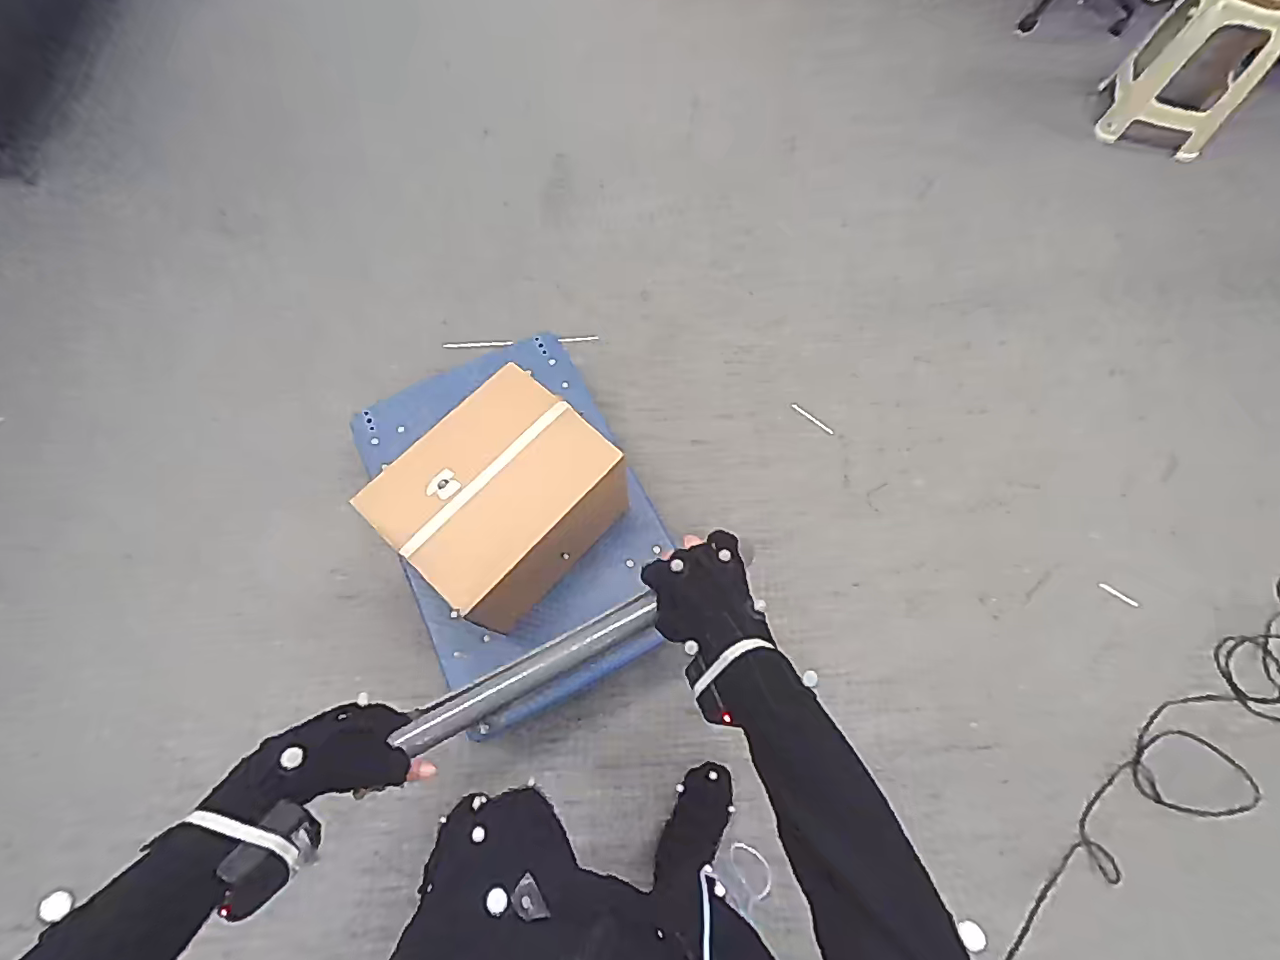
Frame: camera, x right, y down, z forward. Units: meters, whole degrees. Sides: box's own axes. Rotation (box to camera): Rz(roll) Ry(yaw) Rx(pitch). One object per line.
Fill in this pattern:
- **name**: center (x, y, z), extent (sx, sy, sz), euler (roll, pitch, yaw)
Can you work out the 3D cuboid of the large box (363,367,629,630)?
- **large box**: center (-0.264, 0.053, 1.138), extent (0.320, 0.320, 0.408), euler (40, 75, 15)
